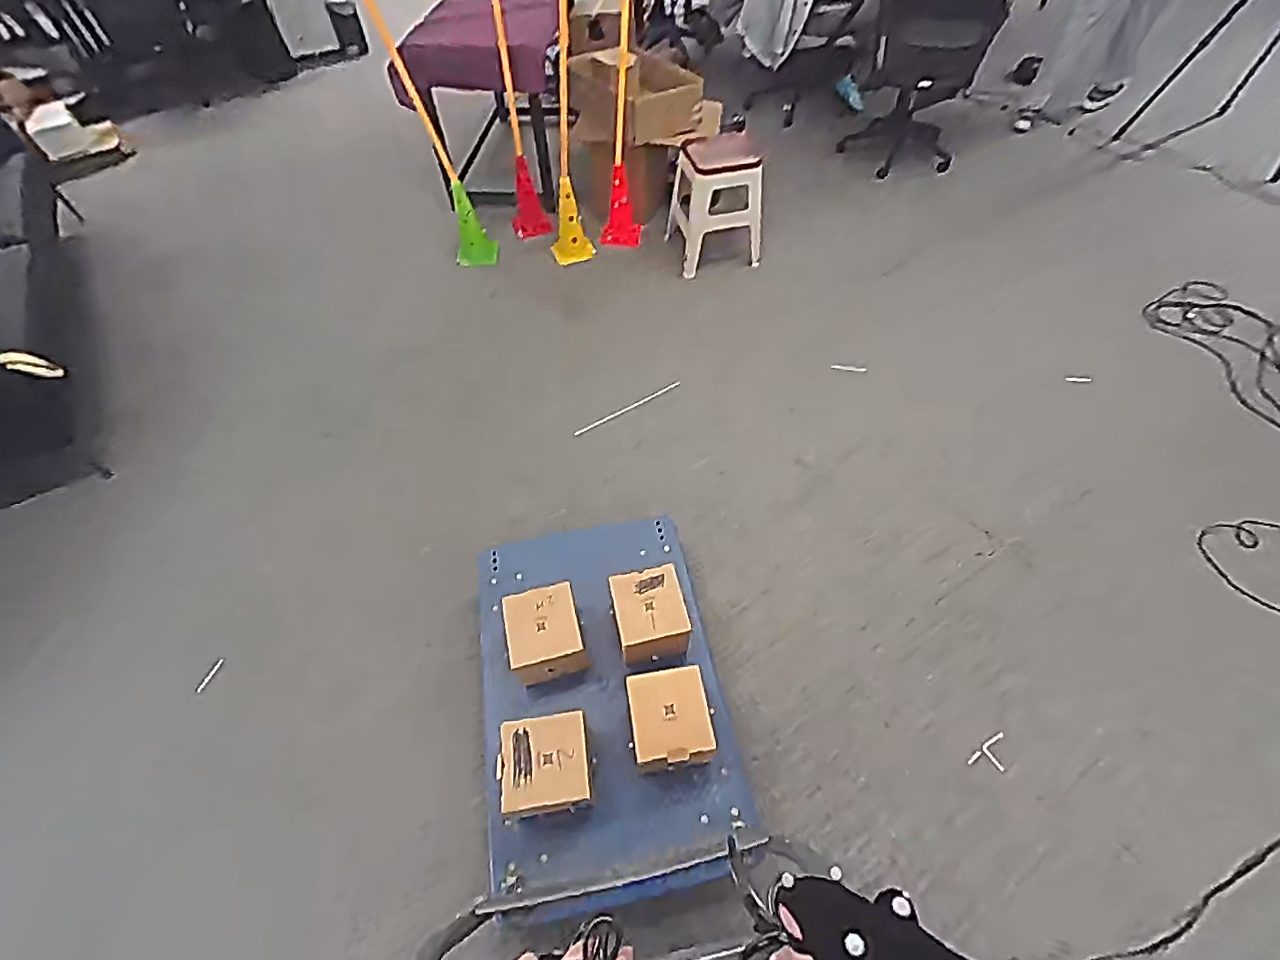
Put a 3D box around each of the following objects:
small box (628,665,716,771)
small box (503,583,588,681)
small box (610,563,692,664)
[{"bbox_3d":[0.064,0.537,1.213,0.168,0.176,0.179,-9,57,-4],"label":"small box"},{"bbox_3d":[-0.228,0.379,1.323,0.168,0.176,0.179,-12,56,-8],"label":"small box"},{"bbox_3d":[0.024,0.336,1.346,0.168,0.176,0.179,-13,56,-6],"label":"small box"}]
